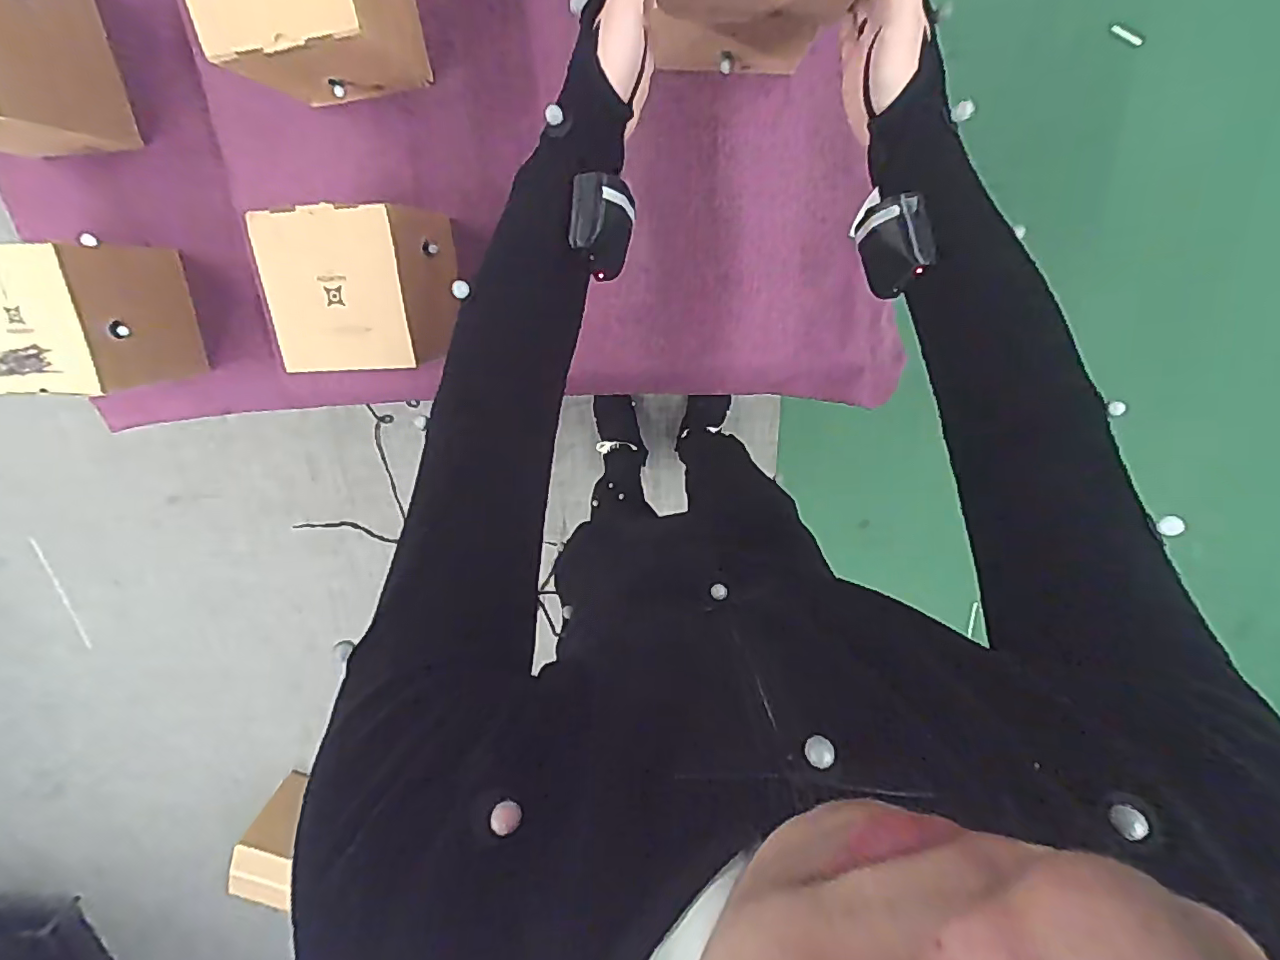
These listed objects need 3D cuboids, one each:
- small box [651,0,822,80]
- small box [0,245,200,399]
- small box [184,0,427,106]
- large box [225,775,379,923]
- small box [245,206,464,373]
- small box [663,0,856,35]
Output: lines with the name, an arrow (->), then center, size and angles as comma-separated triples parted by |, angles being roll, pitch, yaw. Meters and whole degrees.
small box -> 0.101, -0.530, 0.533 | 0.168, 0.176, 0.179 | 5, 113, 3
small box -> -0.736, -0.212, 0.713 | 0.168, 0.176, 0.179 | 1, 110, 3
small box -> -0.351, -0.526, 0.566 | 0.168, 0.176, 0.179 | -5, 112, 5
large box -> -1.323, 1.449, 2.138 | 0.408, 0.320, 0.320 | 21, 112, -6
small box -> -0.338, -0.236, 0.681 | 0.168, 0.176, 0.179 | 0, 111, 5
small box -> 0.099, -0.462, 0.384 | 0.168, 0.176, 0.179 | 5, 111, 3
